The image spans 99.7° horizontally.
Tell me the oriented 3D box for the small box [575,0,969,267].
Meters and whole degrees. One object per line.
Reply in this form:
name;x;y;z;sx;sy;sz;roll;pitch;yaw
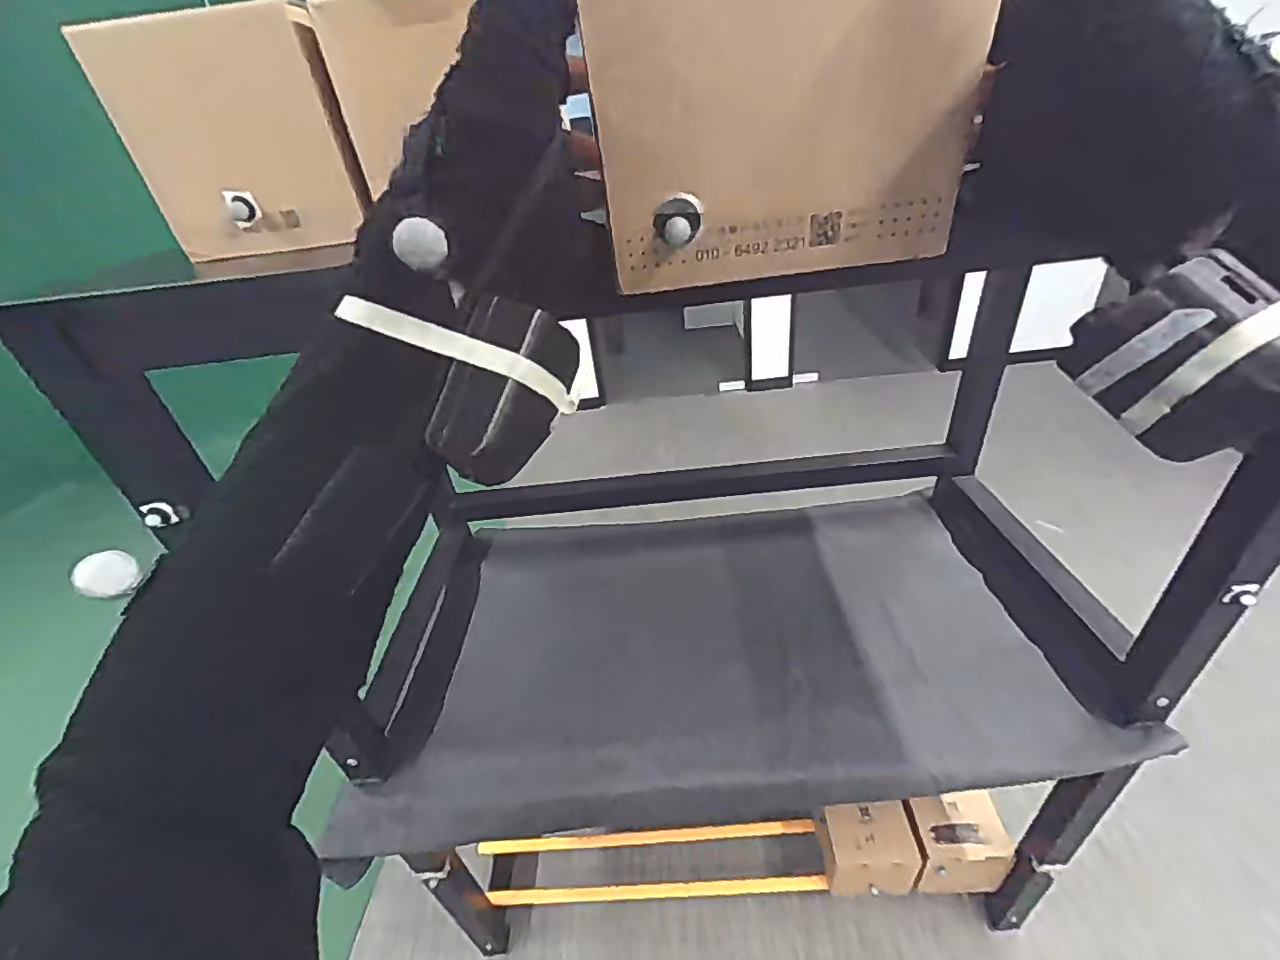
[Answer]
small box;0.058;-0.224;0.295;0.168;0.176;0.179;-5;36;3
